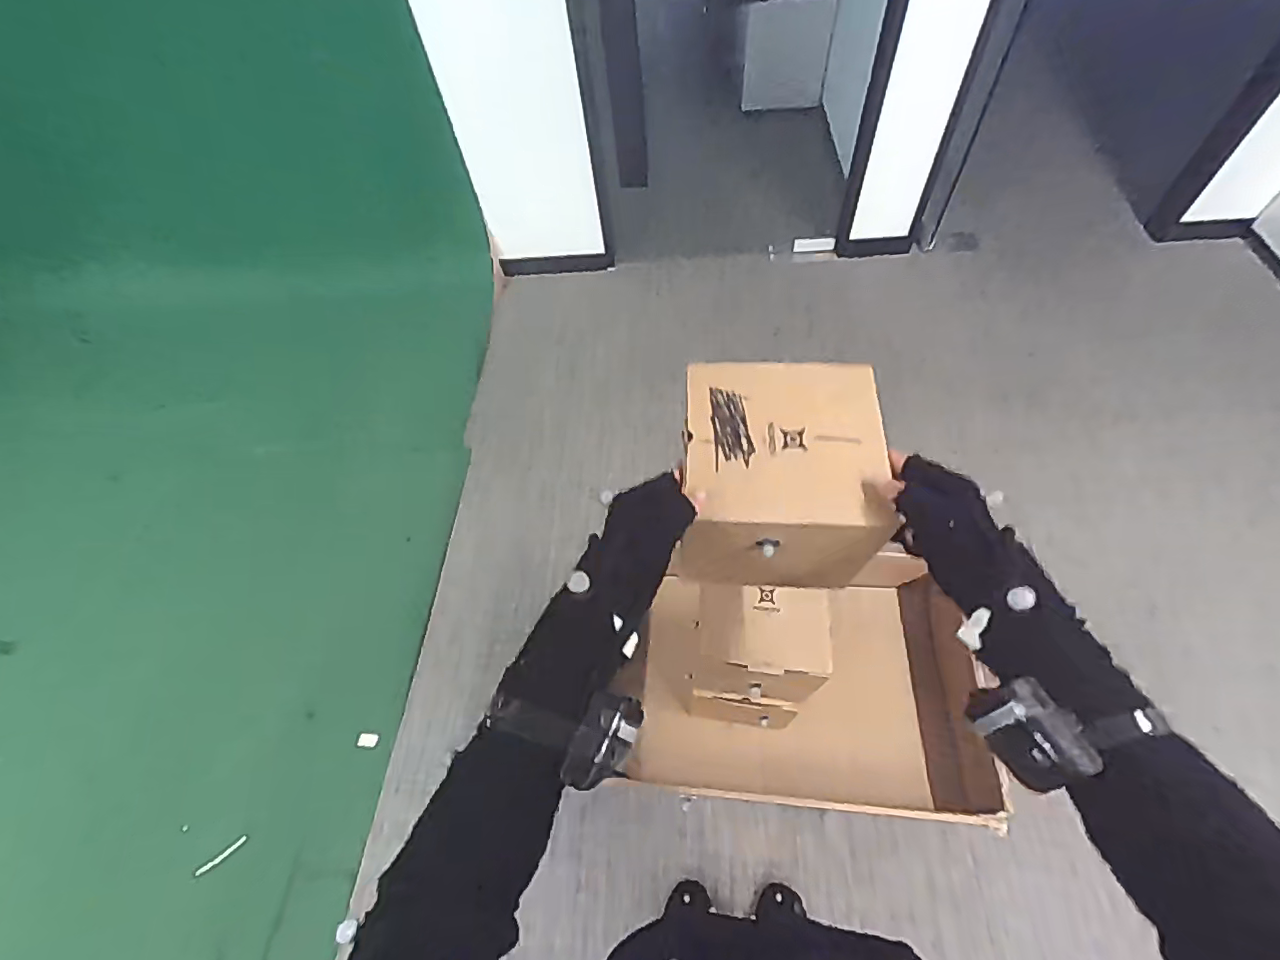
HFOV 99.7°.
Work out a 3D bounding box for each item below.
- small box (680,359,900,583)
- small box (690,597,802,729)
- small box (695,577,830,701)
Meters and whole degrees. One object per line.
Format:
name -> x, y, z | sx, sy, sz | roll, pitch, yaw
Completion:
small box -> 0.130, -0.002, 0.541 | 0.179, 0.176, 0.168 | 2, 61, 4
small box -> 0.175, 0.309, 0.917 | 0.168, 0.176, 0.179 | 6, 55, 6
small box -> 0.170, 0.210, 0.786 | 0.168, 0.176, 0.179 | 5, 58, 6
